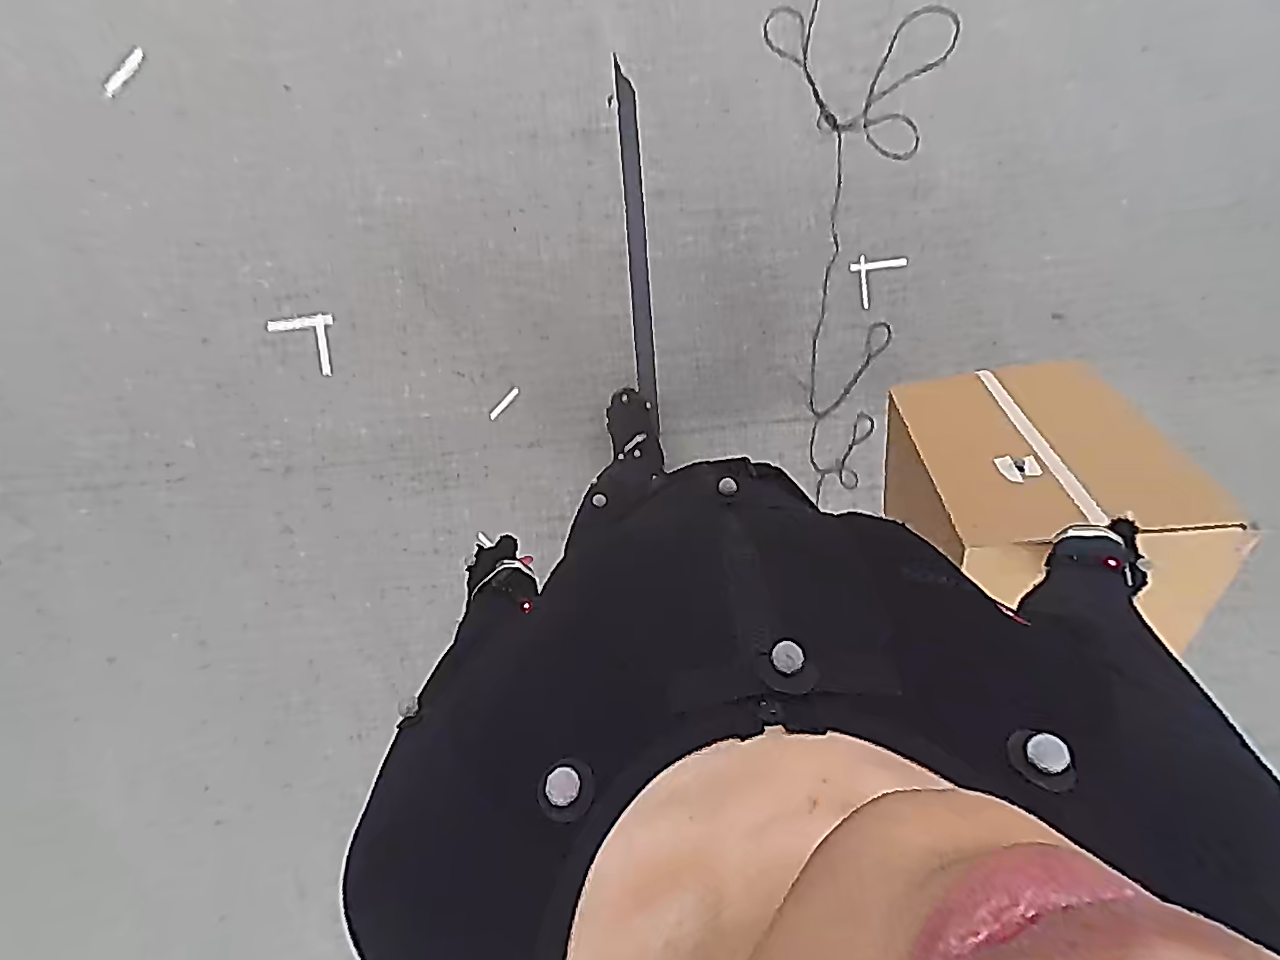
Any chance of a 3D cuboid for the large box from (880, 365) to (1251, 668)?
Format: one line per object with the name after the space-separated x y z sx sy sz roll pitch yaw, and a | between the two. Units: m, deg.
0.623 0.054 0.909 0.320 0.408 0.320 -6 130 13 | large box
